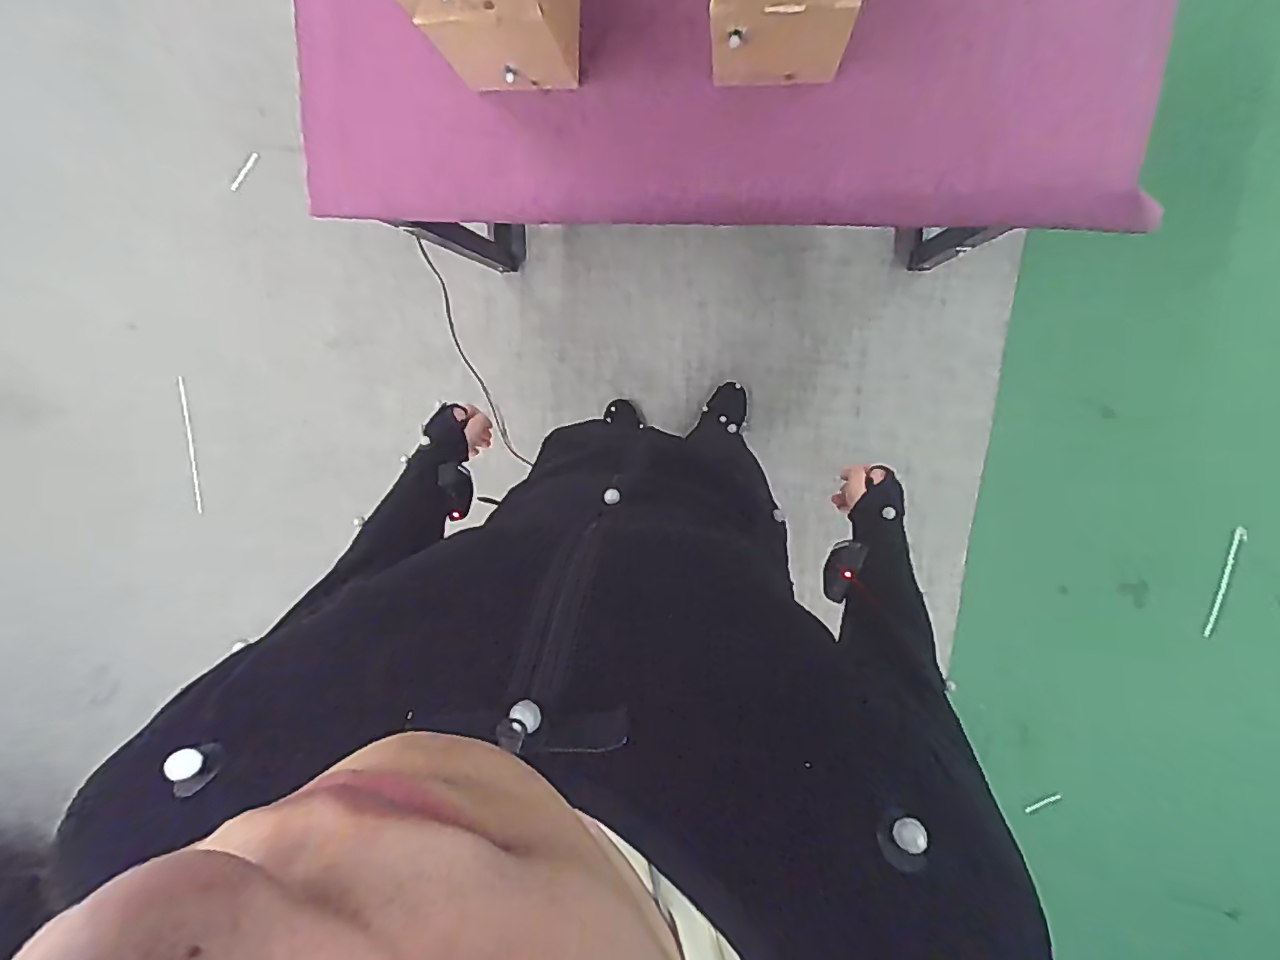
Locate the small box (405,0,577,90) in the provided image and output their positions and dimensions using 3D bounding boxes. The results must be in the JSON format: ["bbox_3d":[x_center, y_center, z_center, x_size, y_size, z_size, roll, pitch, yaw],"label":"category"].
[{"bbox_3d":[-0.181,-0.642,0.694,0.168,0.176,0.179,5,102,7],"label":"small box"}]

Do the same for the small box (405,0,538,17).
[{"bbox_3d":[-0.202,-0.612,0.536,0.168,0.176,0.179,3,103,7],"label":"small box"}]
